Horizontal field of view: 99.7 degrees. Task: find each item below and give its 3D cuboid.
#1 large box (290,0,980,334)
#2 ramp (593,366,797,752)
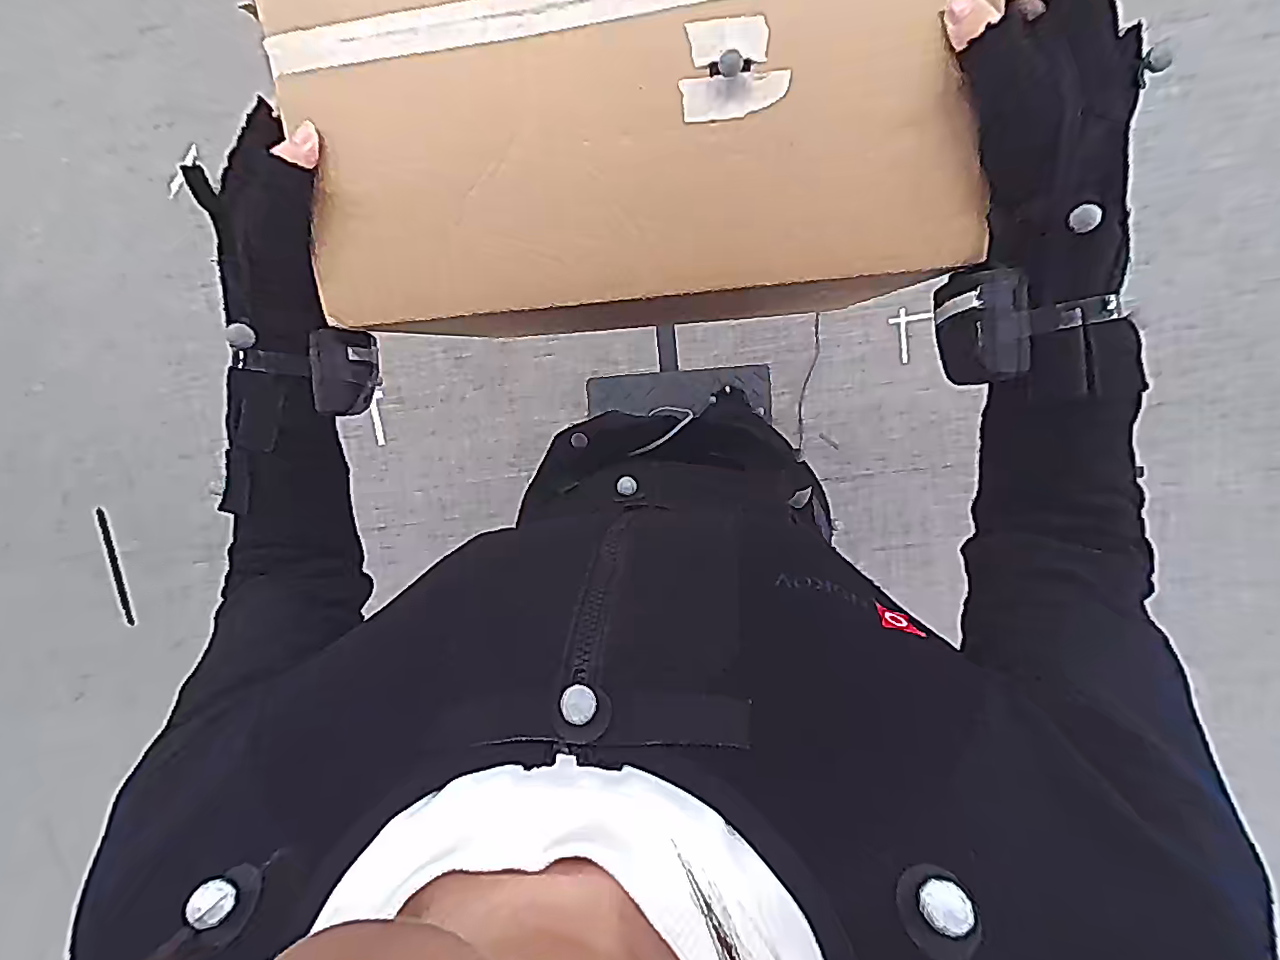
[{"bbox_3d":[0.000,-0.307,0.455,0.408,0.320,0.320,-4,104,7],"label":"large box"},{"bbox_3d":[0.133,0.208,1.437,0.509,0.206,0.991,-5,97,9],"label":"ramp"}]
